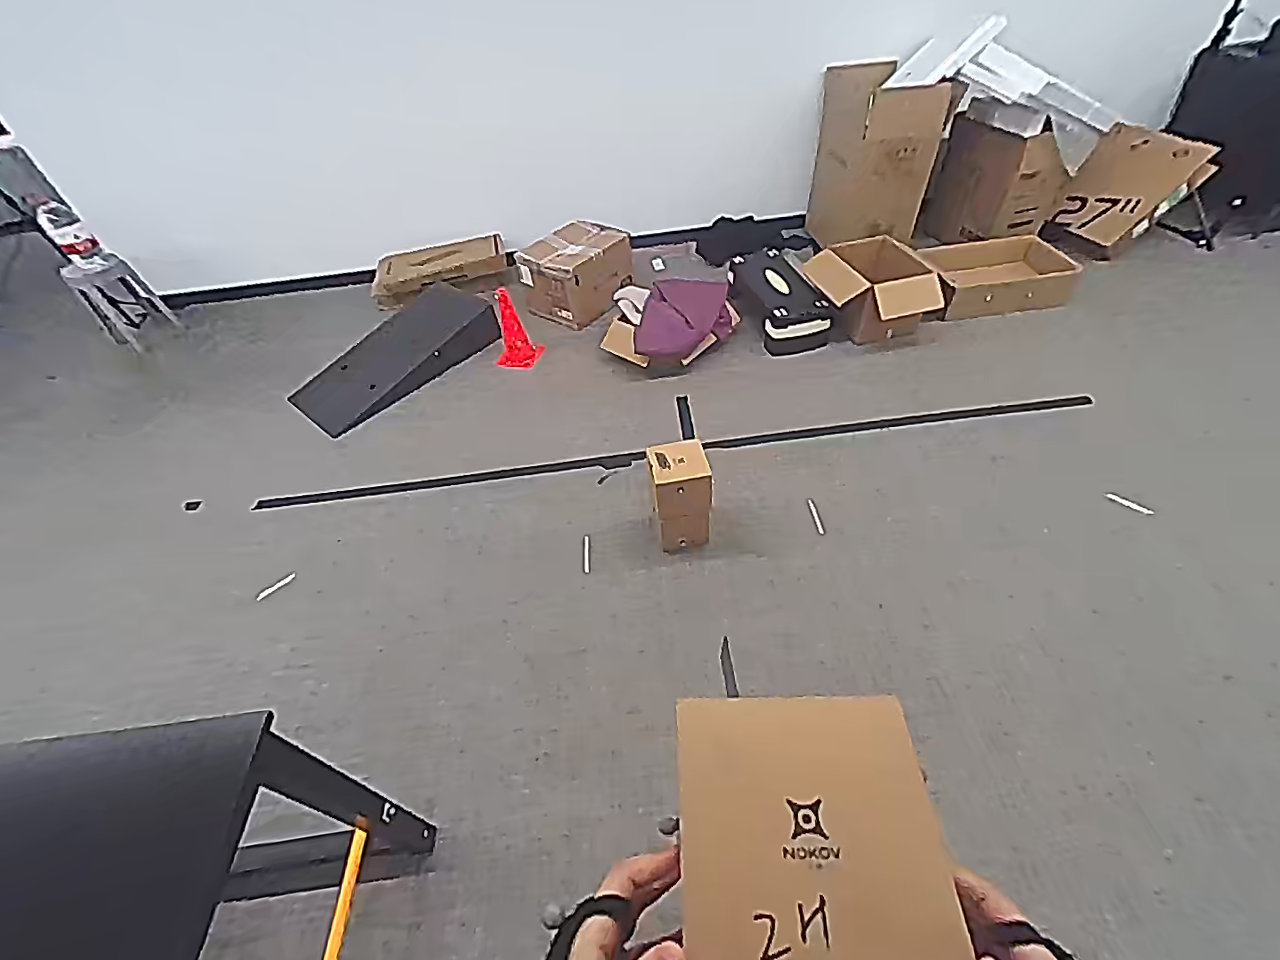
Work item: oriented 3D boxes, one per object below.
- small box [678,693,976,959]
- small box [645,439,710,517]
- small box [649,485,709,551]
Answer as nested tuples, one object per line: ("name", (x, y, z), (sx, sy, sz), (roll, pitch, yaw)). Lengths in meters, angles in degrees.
("small box", (0.112, 0.278, 0.404), (0.168, 0.176, 0.179), (-3, 49, 4))
("small box", (0.121, -0.002, 1.707), (0.179, 0.176, 0.168), (-10, 47, -3))
("small box", (0.131, 0.112, 1.825), (0.168, 0.176, 0.179), (-12, 48, -3))
